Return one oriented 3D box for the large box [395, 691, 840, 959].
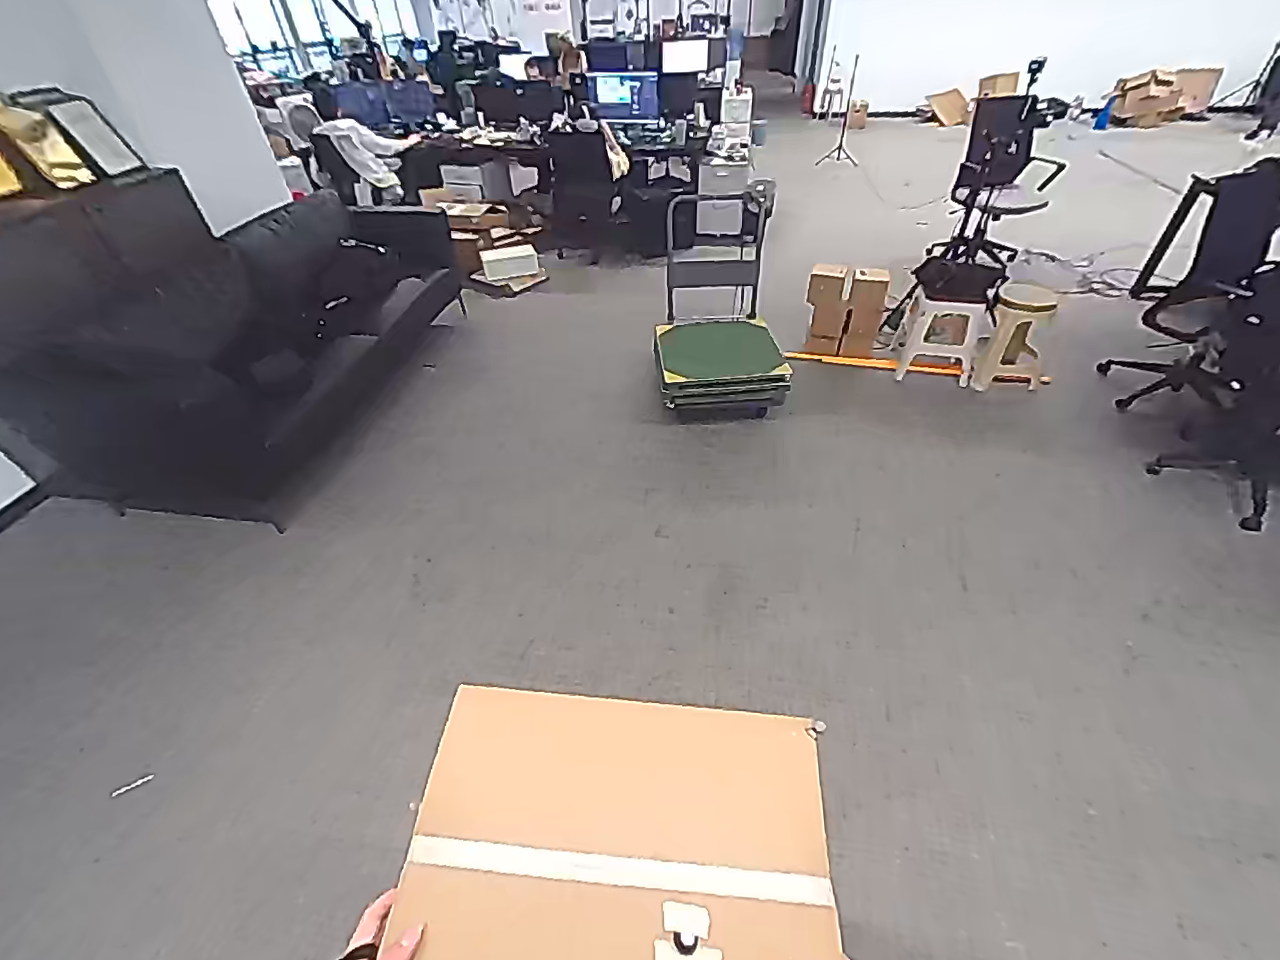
[{"bbox_3d":[-0.019,0.470,0.638,0.408,0.320,0.320,4,51,2],"label":"large box"}]
